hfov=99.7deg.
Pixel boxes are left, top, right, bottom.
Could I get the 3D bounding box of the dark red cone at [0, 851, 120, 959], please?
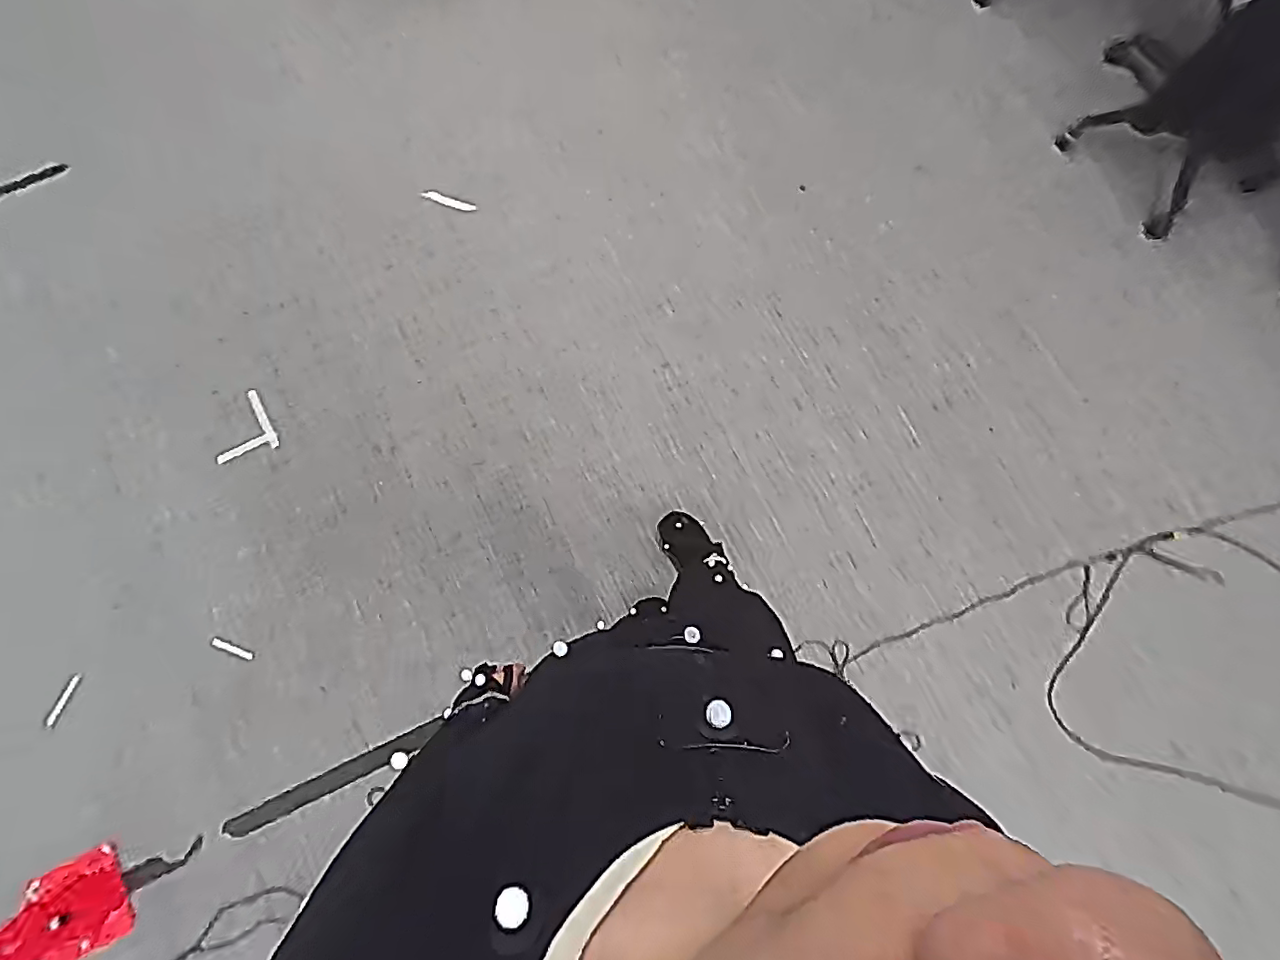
[{"bbox_3d":[-1.244,0.915,1.013,0.202,0.394,0.201,-26,83,-7],"label":"dark red cone"}]
